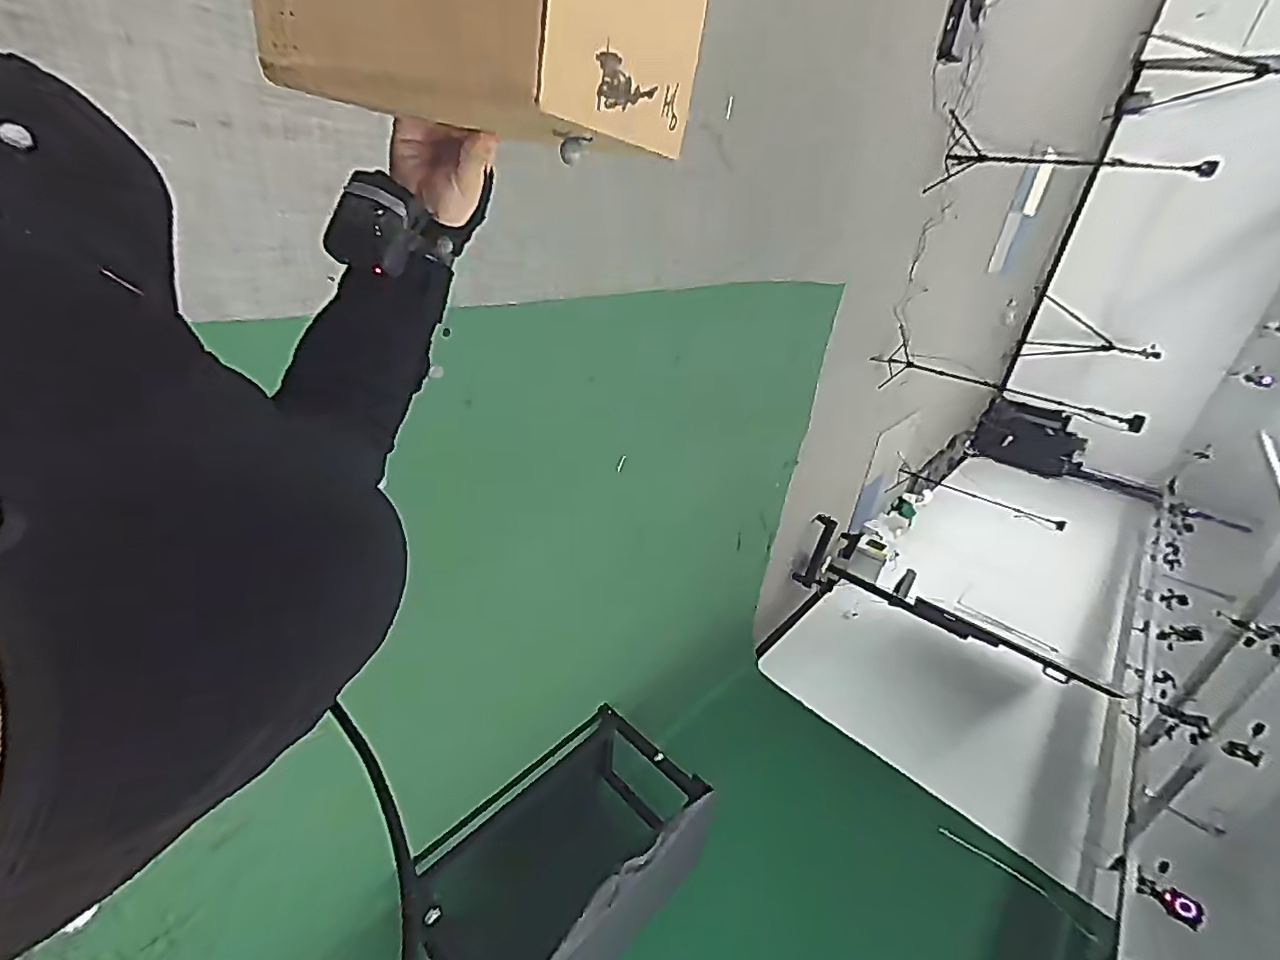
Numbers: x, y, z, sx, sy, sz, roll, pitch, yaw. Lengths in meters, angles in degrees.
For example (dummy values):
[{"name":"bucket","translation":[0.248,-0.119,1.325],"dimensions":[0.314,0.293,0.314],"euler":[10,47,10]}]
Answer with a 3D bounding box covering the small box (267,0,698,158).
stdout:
[{"name":"small box","translation":[-0.073,-0.287,0.284],"dimensions":[0.168,0.176,0.179],"euler":[-41,144,-56]}]
